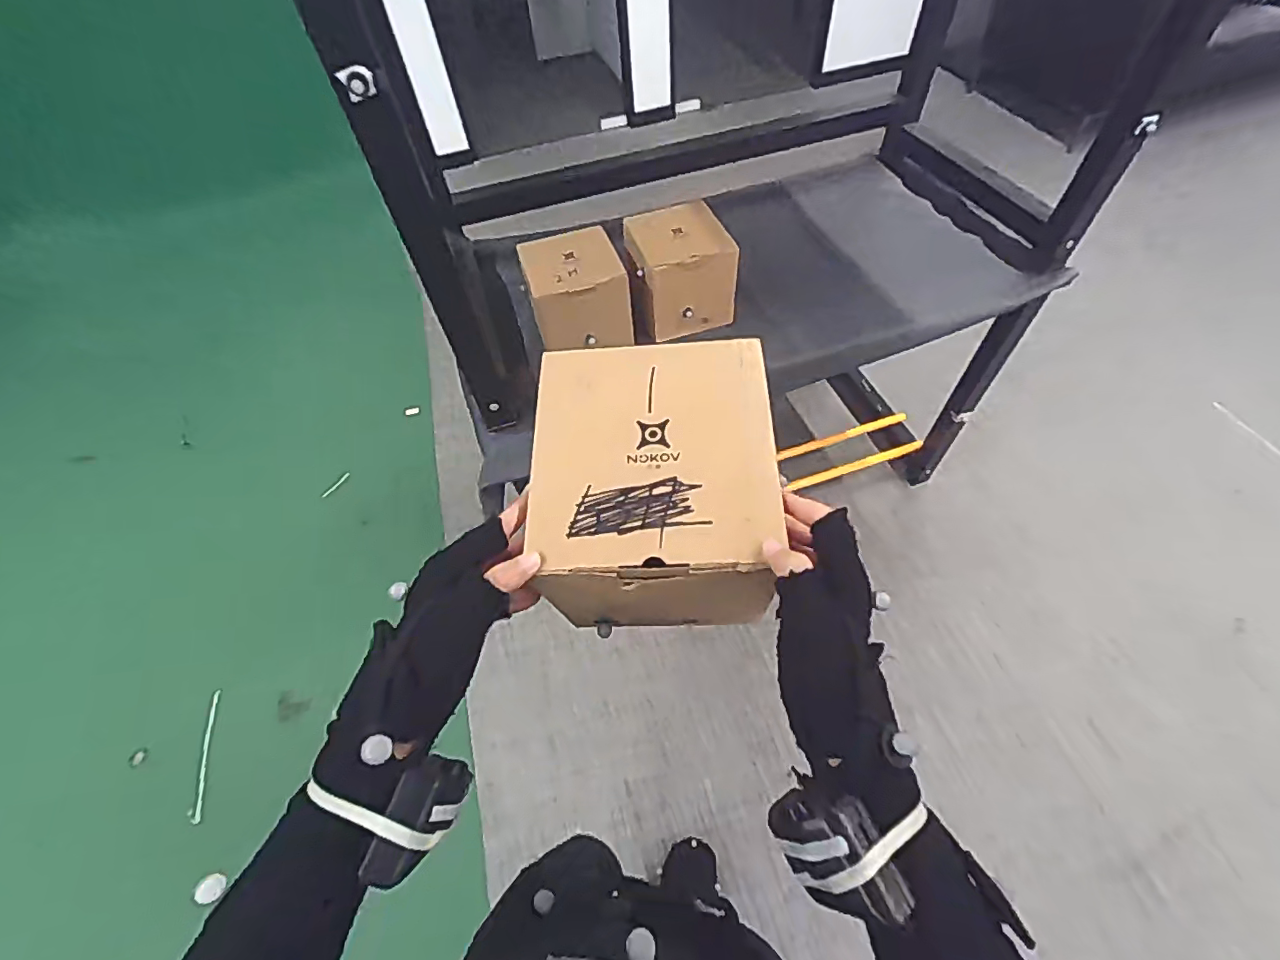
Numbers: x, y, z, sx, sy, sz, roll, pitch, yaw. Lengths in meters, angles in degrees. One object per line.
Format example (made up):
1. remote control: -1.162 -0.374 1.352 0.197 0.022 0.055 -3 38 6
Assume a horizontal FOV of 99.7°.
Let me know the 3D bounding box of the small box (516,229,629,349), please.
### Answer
1. small box: -0.125 -0.341 1.027 0.168 0.176 0.179 -17 55 -7

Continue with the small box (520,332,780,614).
1. small box: 0.014 0.007 0.438 0.168 0.176 0.179 -2 62 5
